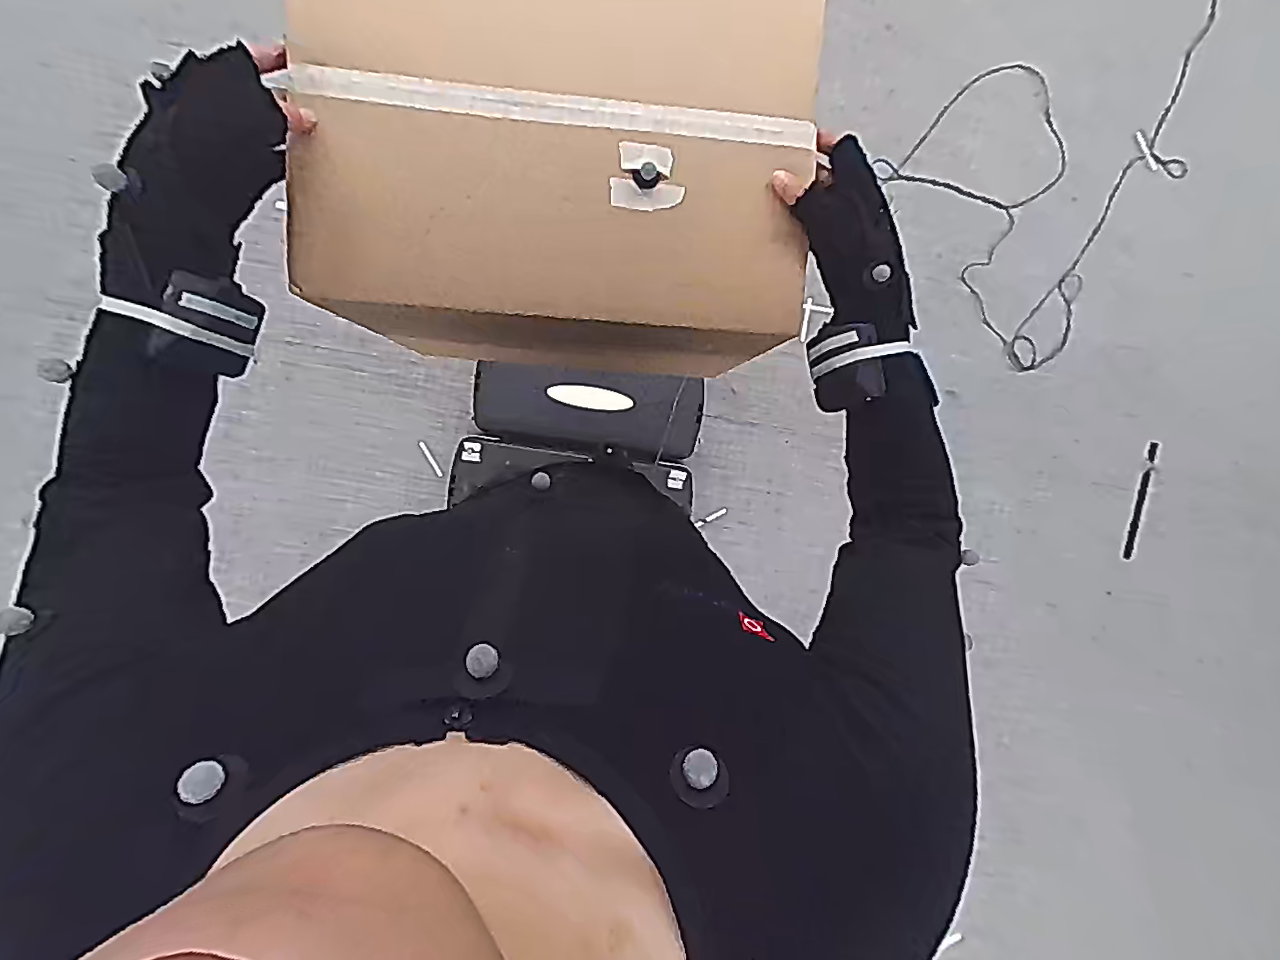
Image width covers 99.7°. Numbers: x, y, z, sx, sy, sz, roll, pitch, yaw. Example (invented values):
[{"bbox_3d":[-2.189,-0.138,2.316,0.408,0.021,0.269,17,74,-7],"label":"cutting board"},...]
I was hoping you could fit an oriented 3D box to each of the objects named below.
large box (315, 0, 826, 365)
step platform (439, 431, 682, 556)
[{"bbox_3d":[-0.066,-0.308,0.580,0.408,0.320,0.320,3,95,-6],"label":"large box"},{"bbox_3d":[-0.220,0.040,1.573,0.684,0.204,0.286,8,92,-4],"label":"step platform"}]
